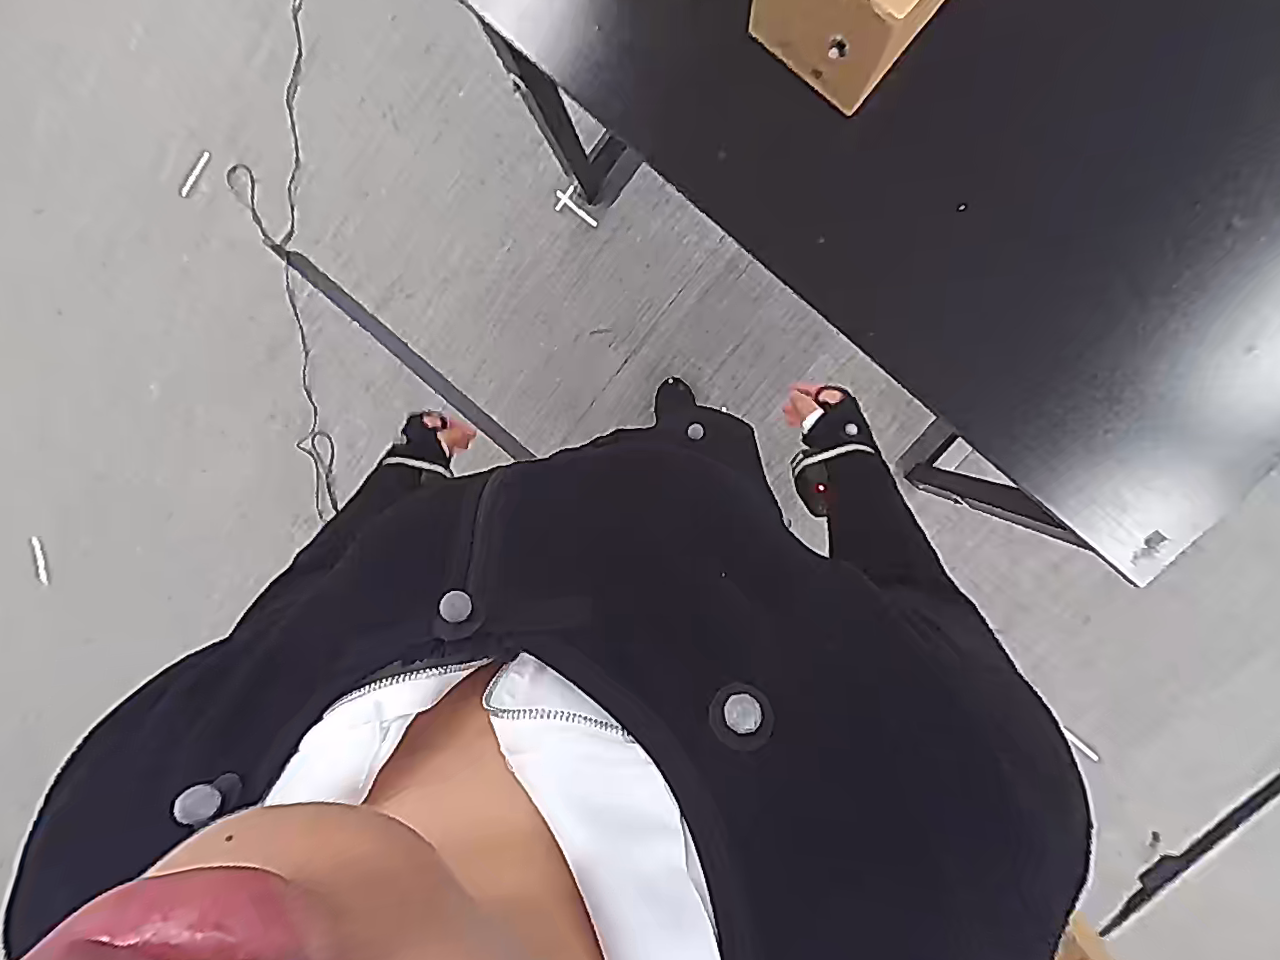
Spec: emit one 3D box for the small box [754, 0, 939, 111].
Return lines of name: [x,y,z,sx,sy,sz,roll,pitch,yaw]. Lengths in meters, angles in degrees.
small box: [0.240,-0.553,0.579,0.168,0.176,0.179,40,98,-2]

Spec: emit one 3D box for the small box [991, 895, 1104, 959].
small box: [1.006,1.164,1.301,0.179,0.176,0.168,41,99,0]
